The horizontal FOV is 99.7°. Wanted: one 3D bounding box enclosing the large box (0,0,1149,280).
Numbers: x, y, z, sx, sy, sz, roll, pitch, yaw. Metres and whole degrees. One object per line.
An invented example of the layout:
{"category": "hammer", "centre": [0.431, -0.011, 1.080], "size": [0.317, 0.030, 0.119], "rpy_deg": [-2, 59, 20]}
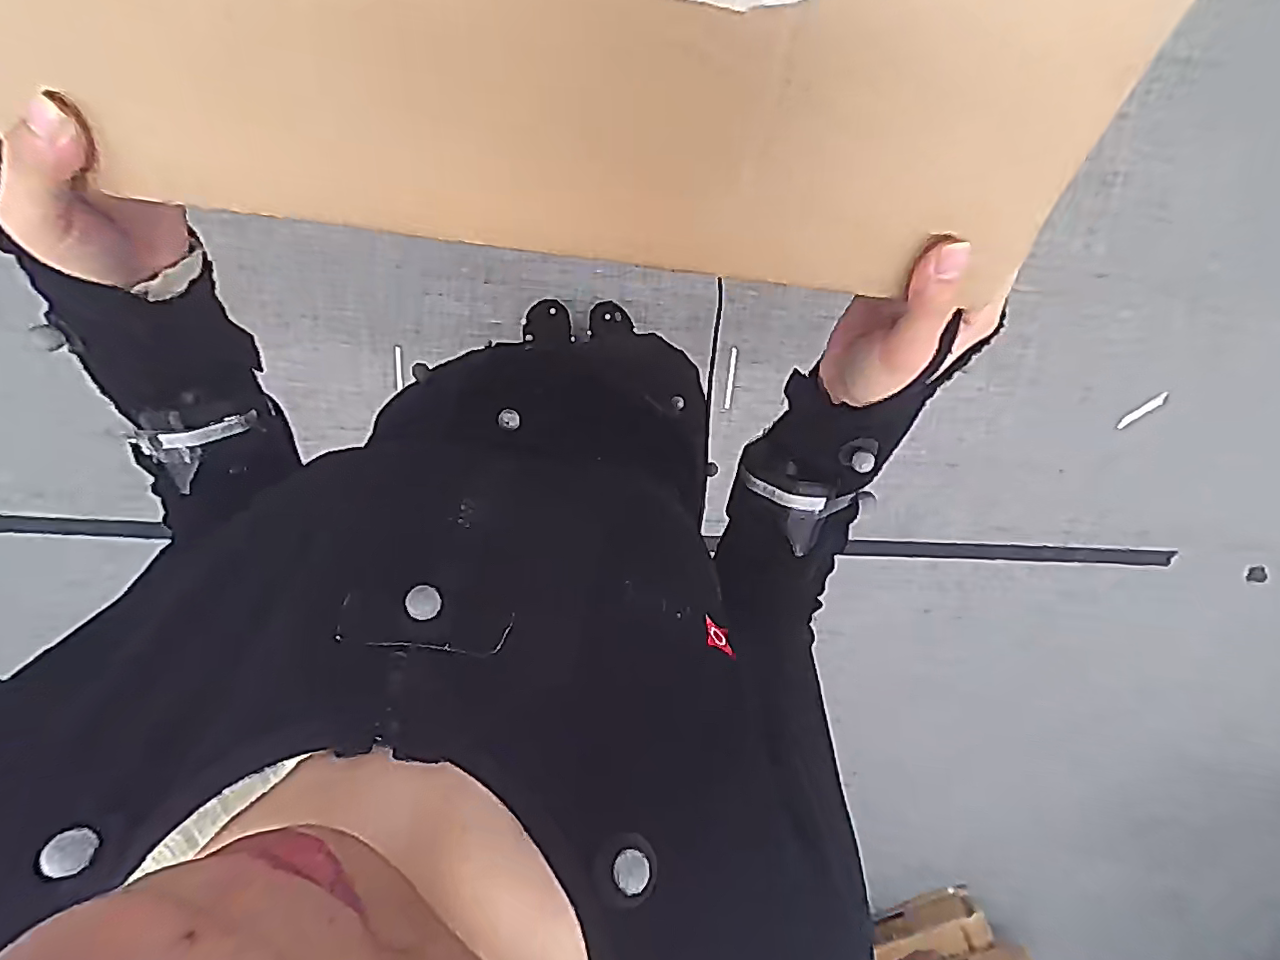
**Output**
{"category": "large box", "centre": [-0.024, -0.317, 0.226], "size": [0.408, 0.320, 0.320], "rpy_deg": [5, 138, -3]}
